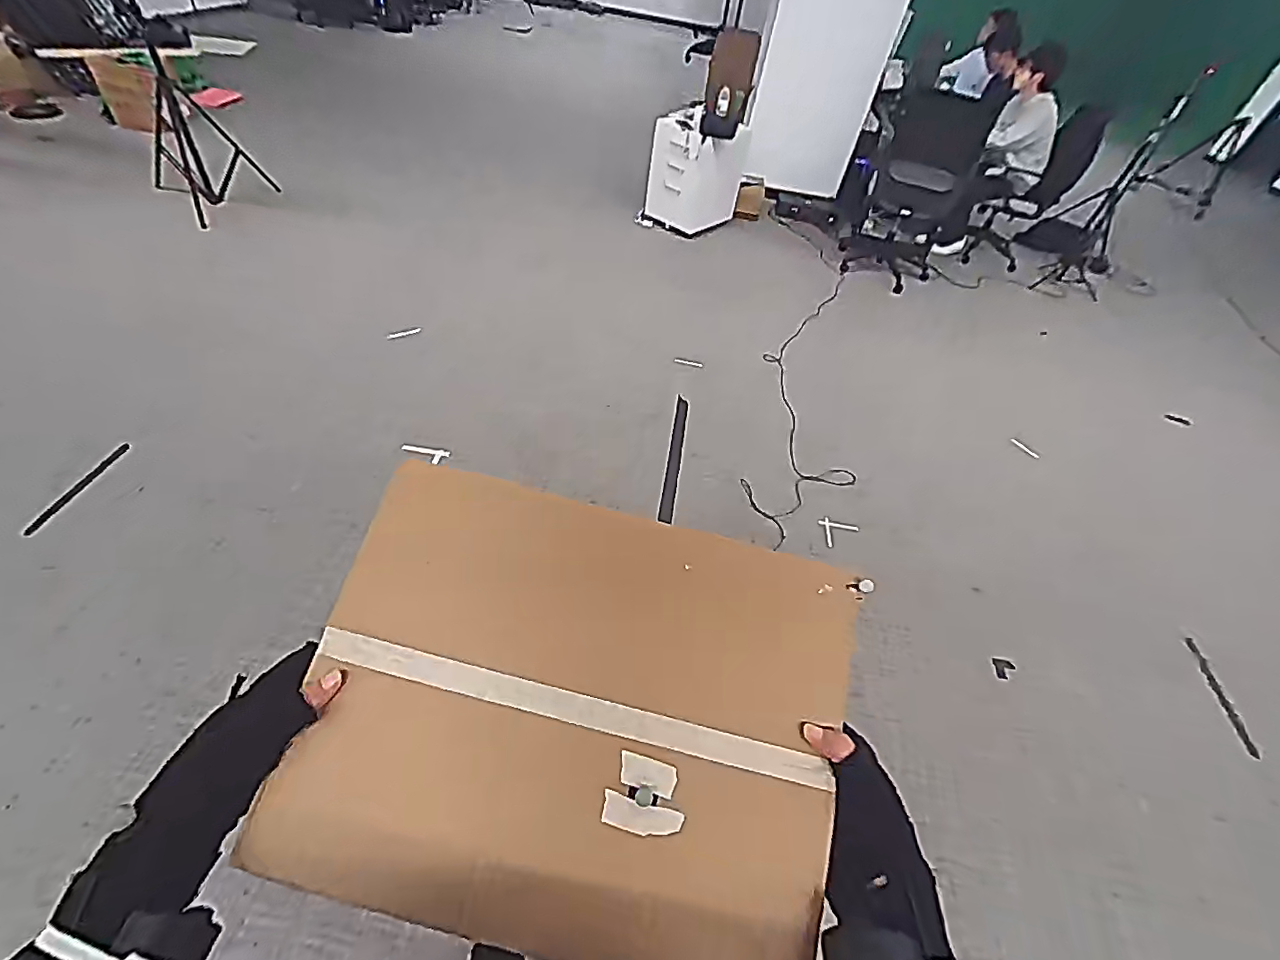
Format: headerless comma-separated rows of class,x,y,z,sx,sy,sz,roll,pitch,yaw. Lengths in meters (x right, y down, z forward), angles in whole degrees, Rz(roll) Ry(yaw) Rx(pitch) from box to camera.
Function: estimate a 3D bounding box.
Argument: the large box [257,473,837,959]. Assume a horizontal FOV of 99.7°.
large box,-0.061,0.224,0.573,0.408,0.320,0.320,14,71,1
